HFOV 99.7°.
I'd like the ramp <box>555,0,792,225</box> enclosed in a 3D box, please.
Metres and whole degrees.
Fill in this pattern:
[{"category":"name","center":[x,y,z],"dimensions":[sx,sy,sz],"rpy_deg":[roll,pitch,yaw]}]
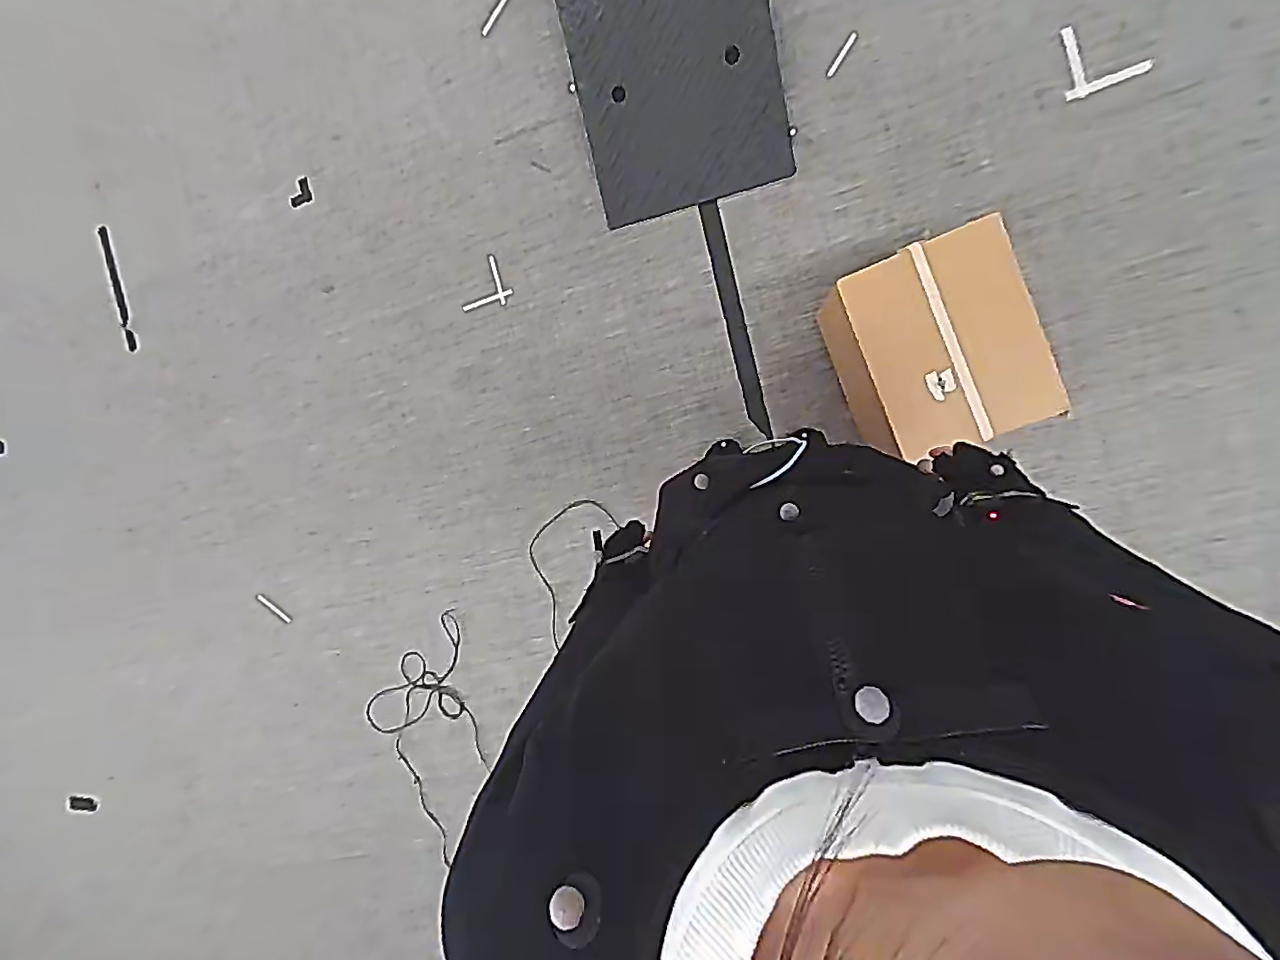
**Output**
[{"category":"ramp","center":[0.033,-1.194,1.284],"dimensions":[0.509,0.206,0.991],"rpy_deg":[-13,93,10]}]

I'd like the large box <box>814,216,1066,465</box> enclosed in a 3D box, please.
[{"category":"large box","center":[0.624,-0.281,1.199],"dimensions":[0.320,0.320,0.408],"rpy_deg":[-21,92,12]}]
